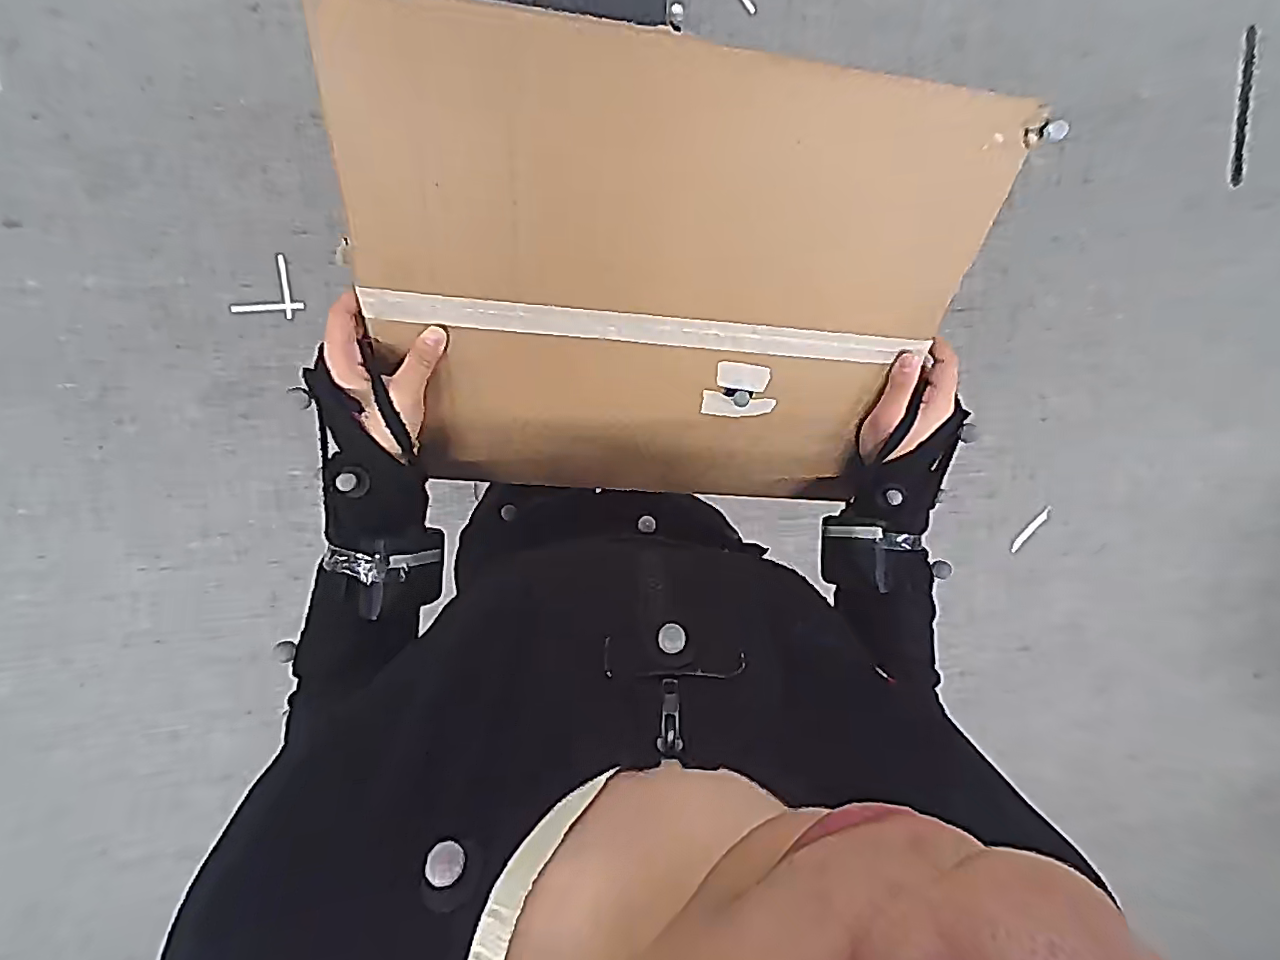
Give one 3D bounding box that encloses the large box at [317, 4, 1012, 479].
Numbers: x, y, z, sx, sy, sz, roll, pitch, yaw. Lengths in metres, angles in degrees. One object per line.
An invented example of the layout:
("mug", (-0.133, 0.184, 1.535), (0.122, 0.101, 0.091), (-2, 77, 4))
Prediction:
("large box", (0.000, -0.217, 0.507), (0.408, 0.320, 0.320), (2, 132, -8))
